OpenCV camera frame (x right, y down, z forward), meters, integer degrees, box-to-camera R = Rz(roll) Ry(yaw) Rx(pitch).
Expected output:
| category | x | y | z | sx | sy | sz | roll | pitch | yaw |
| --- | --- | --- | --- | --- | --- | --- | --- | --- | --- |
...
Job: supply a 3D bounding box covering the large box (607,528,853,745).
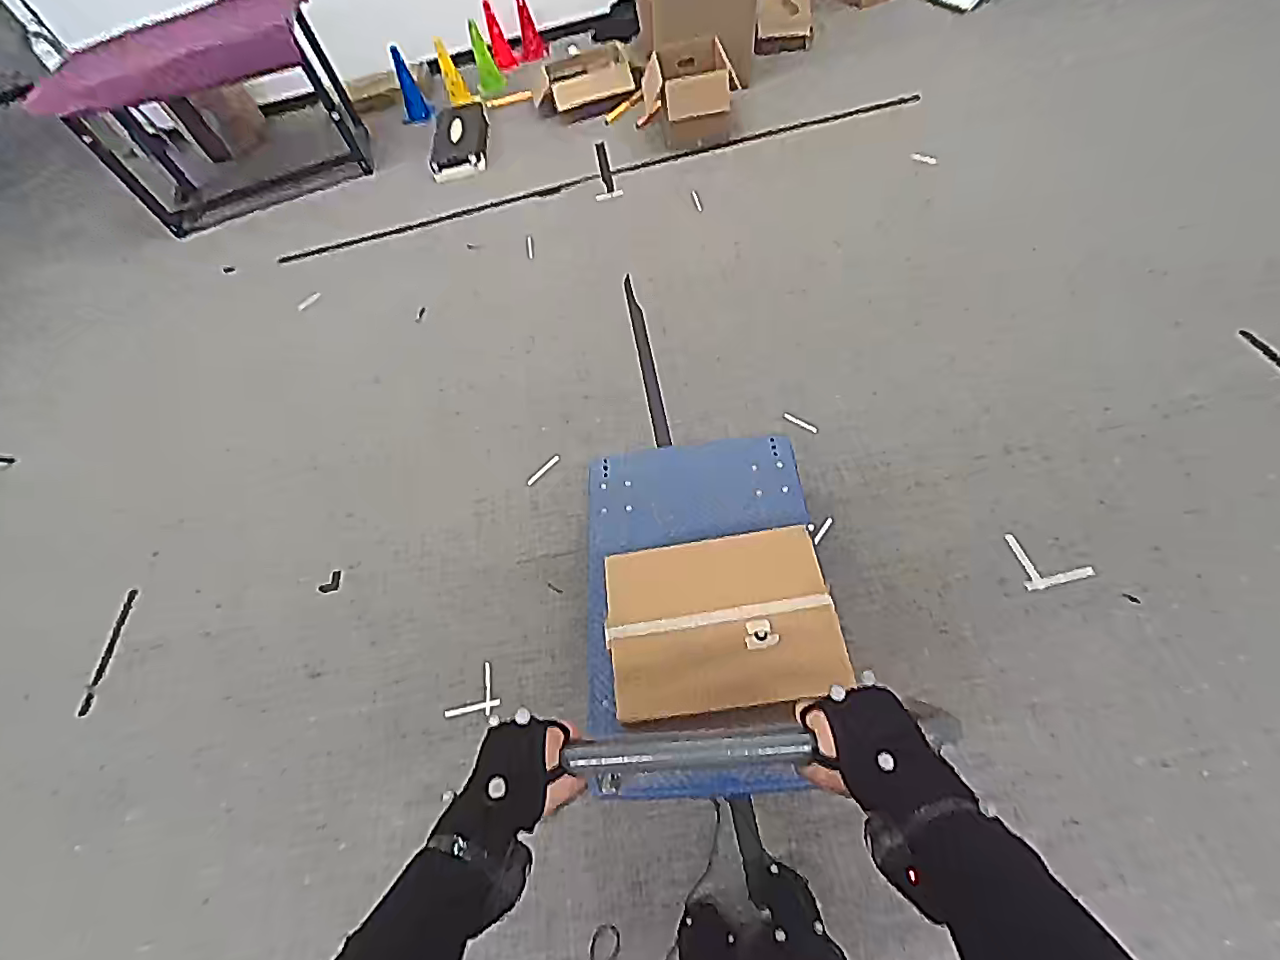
| category | x | y | z | sx | sy | sz | roll | pitch | yaw |
| --- | --- | --- | --- | --- | --- | --- | --- | --- | --- |
| large box | 0.165 | 0.335 | 1.118 | 0.408 | 0.320 | 0.320 | -10 | 57 | 3 |
